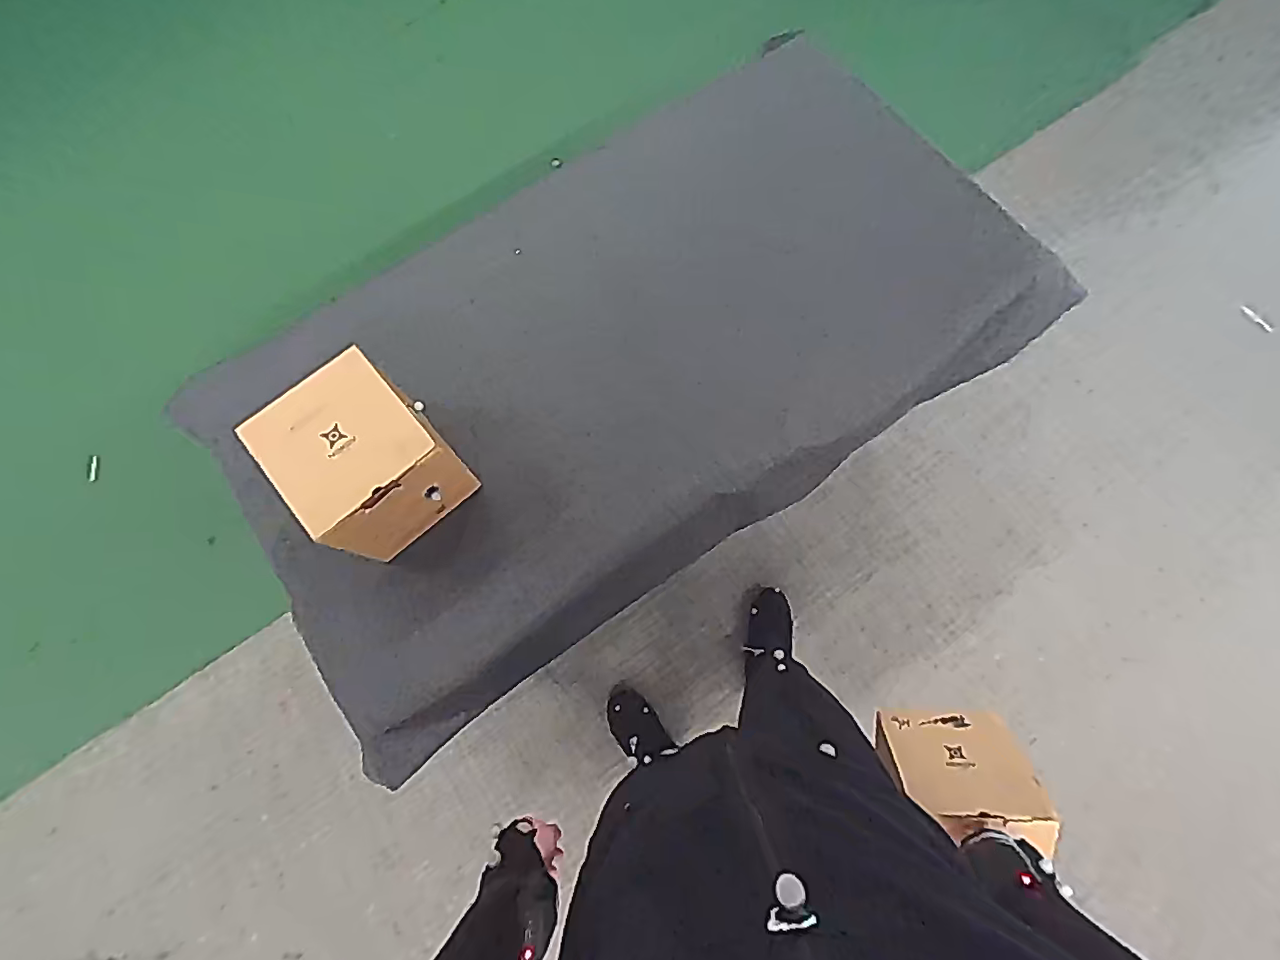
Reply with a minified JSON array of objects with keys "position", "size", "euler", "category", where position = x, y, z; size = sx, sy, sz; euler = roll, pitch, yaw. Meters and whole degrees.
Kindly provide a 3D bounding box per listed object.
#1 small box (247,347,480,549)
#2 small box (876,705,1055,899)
[{"position":[-0.335,-0.027,0.694],"size":[0.168,0.176,0.179],"euler":[-40,77,-11],"category":"small box"},{"position":[0.440,0.447,0.763],"size":[0.168,0.179,0.176],"euler":[-3,111,10],"category":"small box"}]
